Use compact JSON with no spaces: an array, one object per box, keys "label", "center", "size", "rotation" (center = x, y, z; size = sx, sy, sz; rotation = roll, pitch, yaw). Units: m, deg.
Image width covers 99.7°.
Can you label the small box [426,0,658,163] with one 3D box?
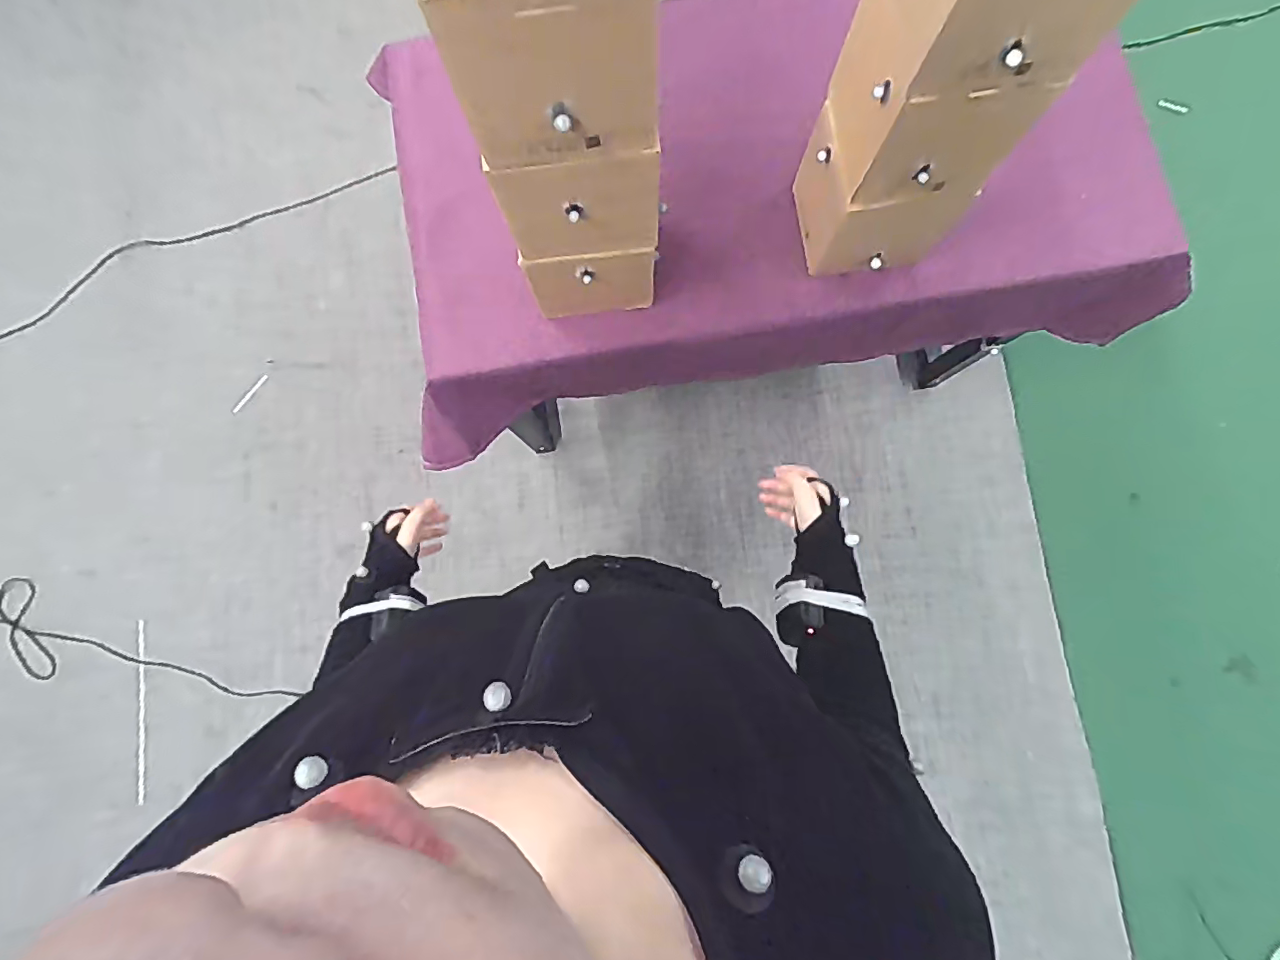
[{"label":"small box","center":[-0.078,-0.409,0.455],"size":[0.168,0.176,0.179],"rotation":[-7,83,0]}]

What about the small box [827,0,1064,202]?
[{"label":"small box","center":[0.331,-0.459,0.625],"size":[0.168,0.176,0.179],"rotation":[-6,83,0]}]

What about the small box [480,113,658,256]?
[{"label":"small box","center":[-0.075,-0.381,0.618],"size":[0.179,0.176,0.168],"rotation":[-7,83,1]}]

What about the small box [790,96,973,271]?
[{"label":"small box","center":[0.336,-0.426,0.784],"size":[0.179,0.176,0.168],"rotation":[-7,82,-1]}]

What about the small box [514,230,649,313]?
[{"label":"small box","center":[-0.079,-0.356,0.780],"size":[0.179,0.176,0.168],"rotation":[-6,83,-1]}]
